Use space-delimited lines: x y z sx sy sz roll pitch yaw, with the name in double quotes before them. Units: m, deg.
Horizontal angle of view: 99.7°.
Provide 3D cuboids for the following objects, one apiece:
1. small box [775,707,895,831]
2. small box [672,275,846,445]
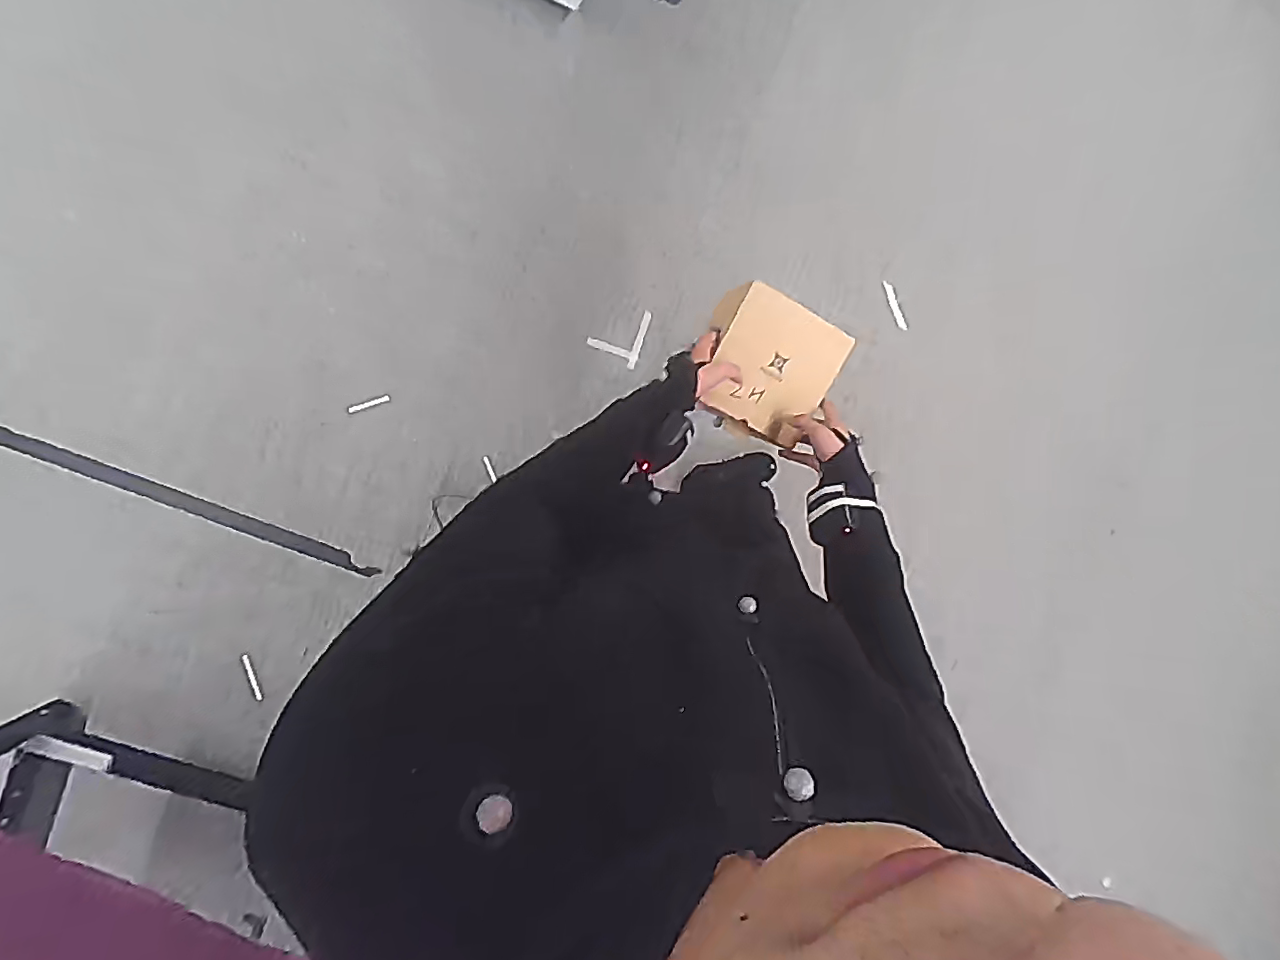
"small box" 0.457 0.678 1.290 0.179 0.176 0.168 31 90 -7
"small box" 0.162 -0.174 0.806 0.168 0.176 0.179 26 98 -11
